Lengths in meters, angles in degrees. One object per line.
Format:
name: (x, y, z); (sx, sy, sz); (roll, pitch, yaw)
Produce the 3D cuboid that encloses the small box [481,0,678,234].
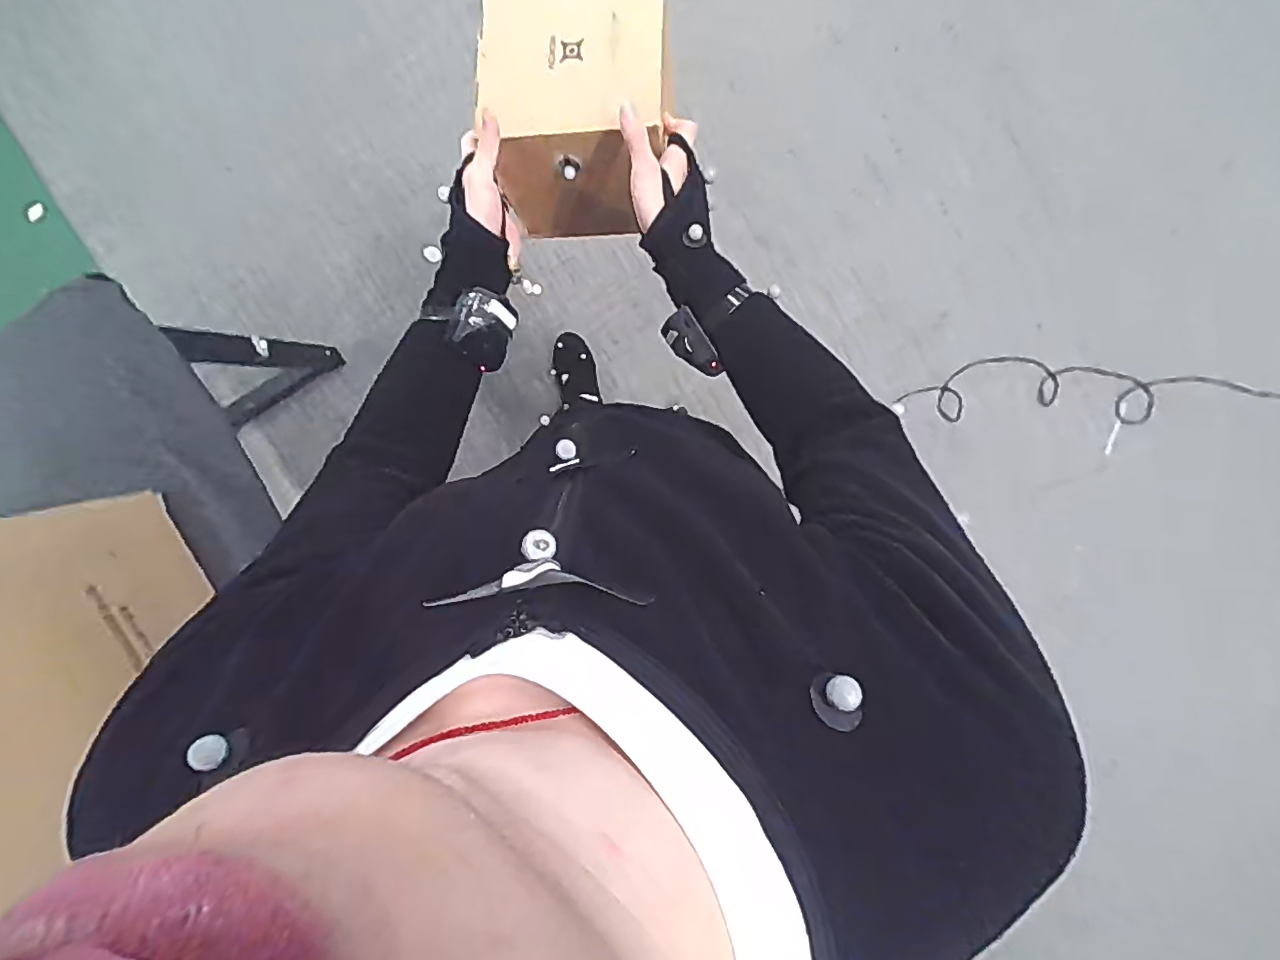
small box: (-0.051, -0.383, 0.577); (0.179, 0.176, 0.168); (0, 84, 6)
